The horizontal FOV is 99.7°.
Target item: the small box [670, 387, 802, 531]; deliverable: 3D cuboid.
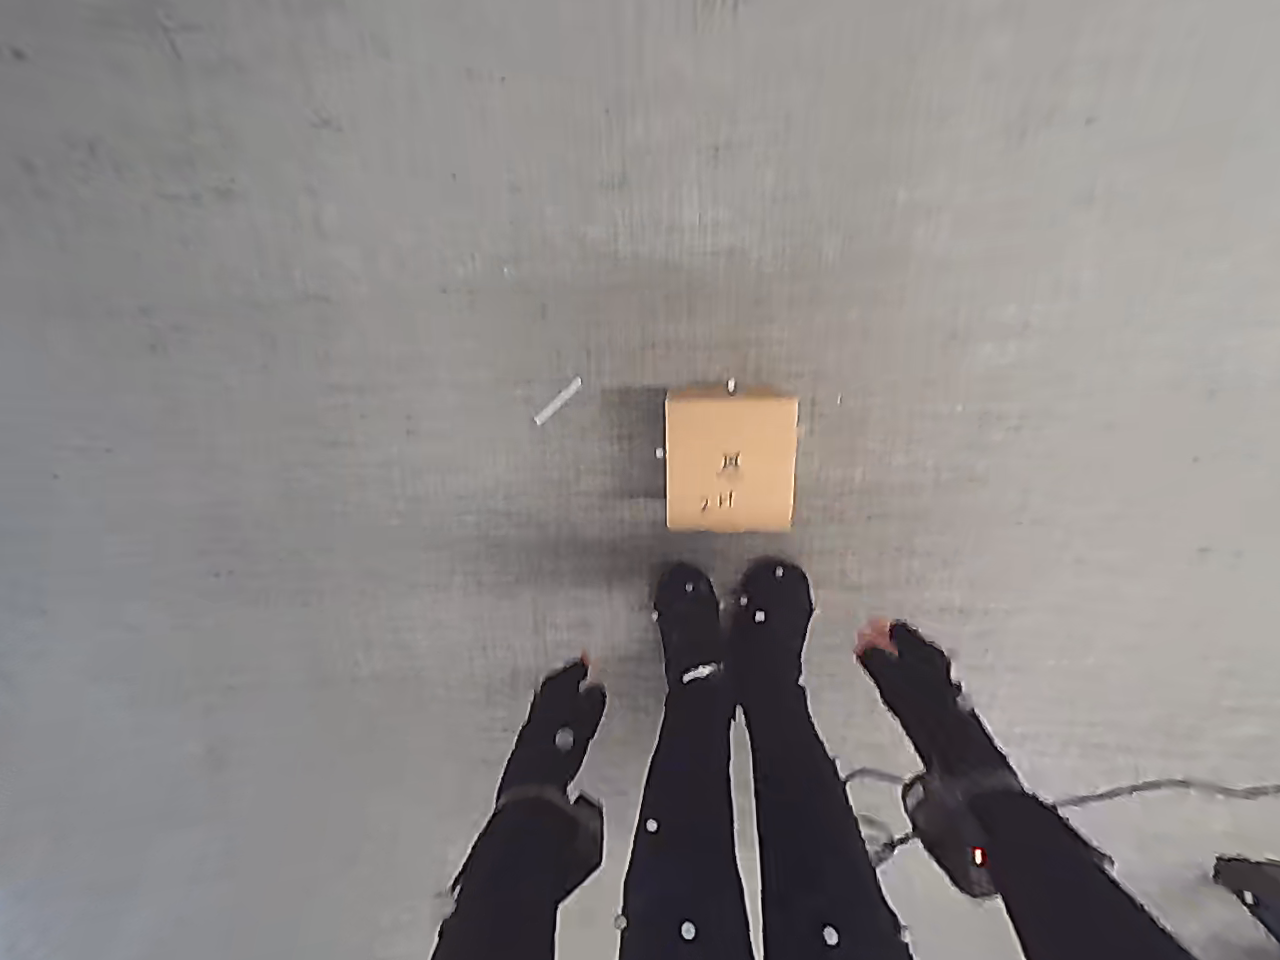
[{"bbox_3d":[0.126,-0.039,0.771,0.168,0.176,0.179,0,107,5],"label":"small box"}]
